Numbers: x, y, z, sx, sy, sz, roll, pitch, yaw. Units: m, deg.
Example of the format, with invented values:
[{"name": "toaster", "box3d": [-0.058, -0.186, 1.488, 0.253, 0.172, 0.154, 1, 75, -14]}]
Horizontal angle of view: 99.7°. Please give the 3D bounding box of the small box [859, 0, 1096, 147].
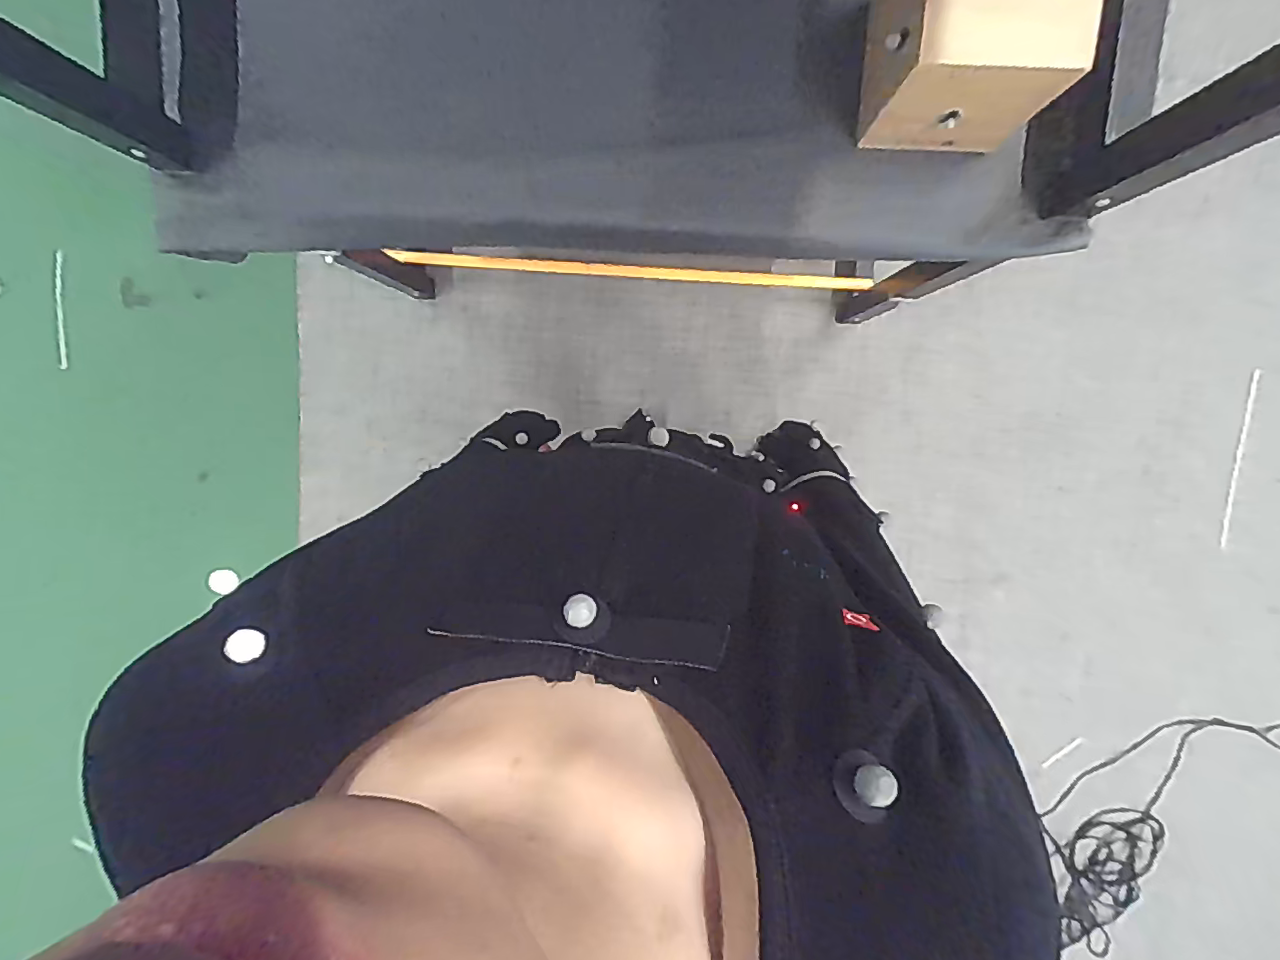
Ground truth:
[{"name": "small box", "box3d": [0.354, -0.493, 0.589, 0.168, 0.176, 0.179, 4, 97, 1]}]
